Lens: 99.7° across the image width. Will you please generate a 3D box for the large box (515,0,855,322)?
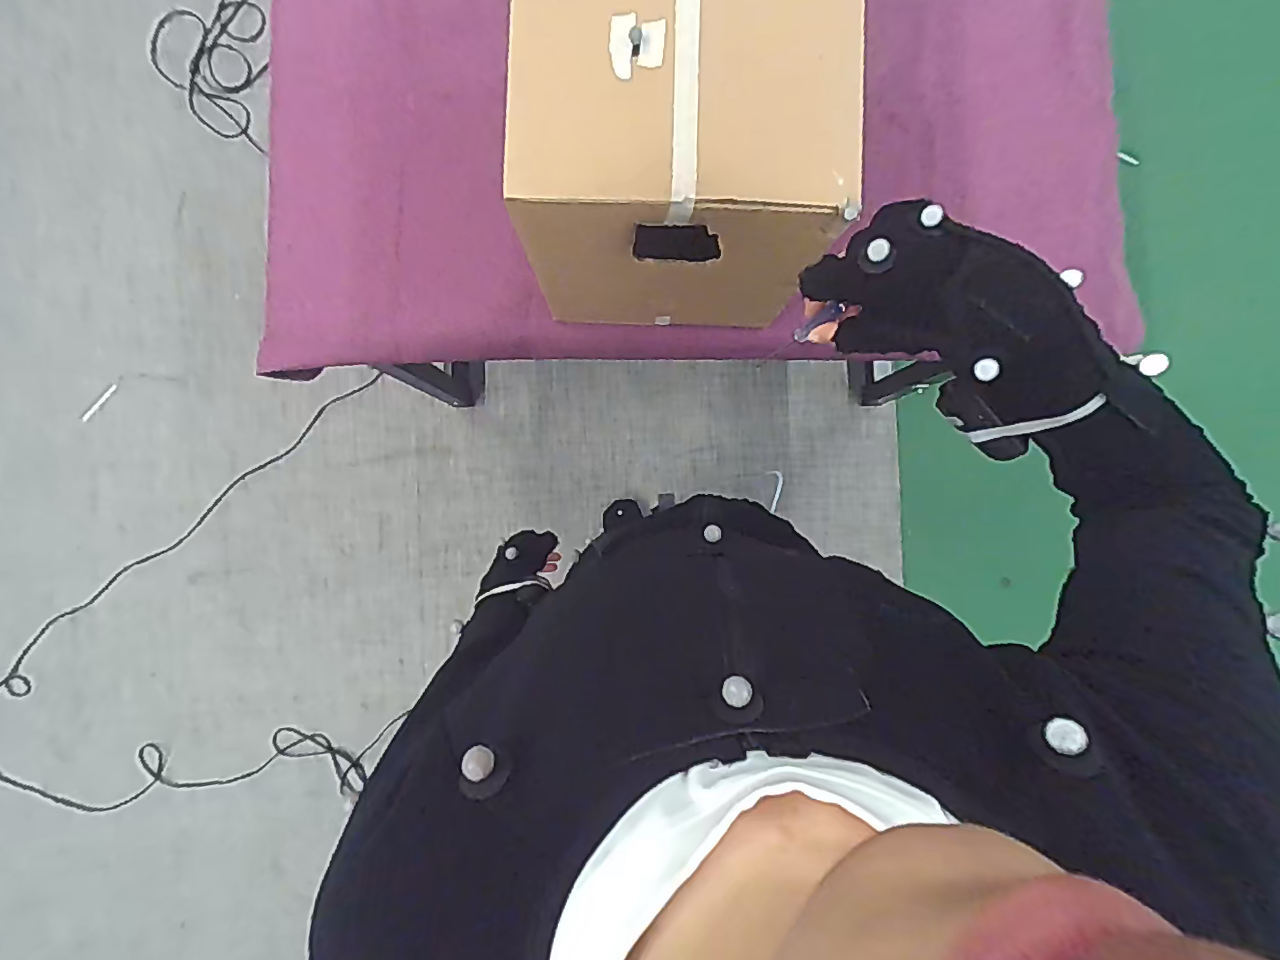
[{"bbox_3d":[0.041,-0.437,0.641,0.320,0.320,0.408,2,88,-1],"label":"large box"}]
